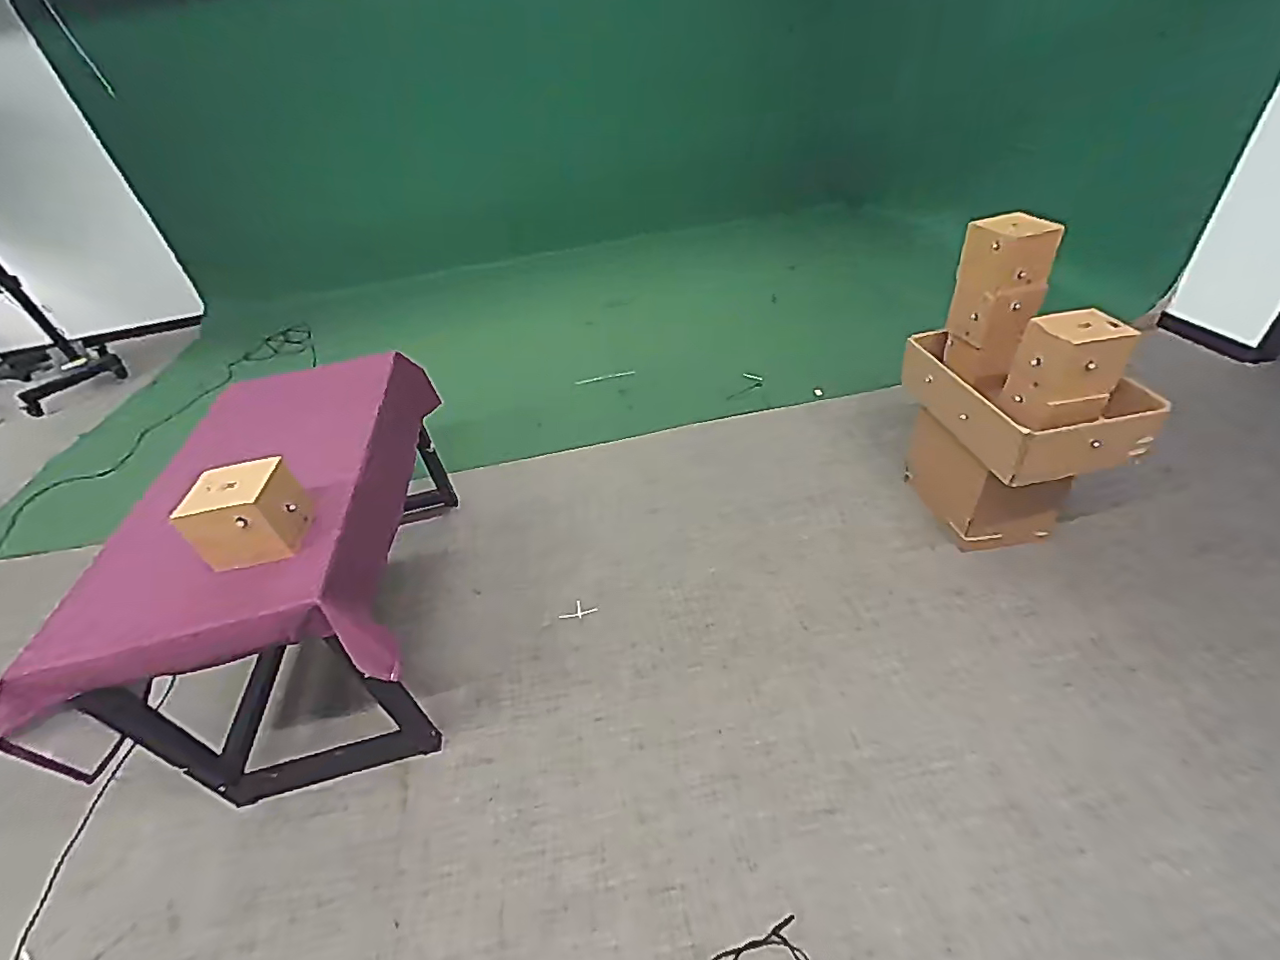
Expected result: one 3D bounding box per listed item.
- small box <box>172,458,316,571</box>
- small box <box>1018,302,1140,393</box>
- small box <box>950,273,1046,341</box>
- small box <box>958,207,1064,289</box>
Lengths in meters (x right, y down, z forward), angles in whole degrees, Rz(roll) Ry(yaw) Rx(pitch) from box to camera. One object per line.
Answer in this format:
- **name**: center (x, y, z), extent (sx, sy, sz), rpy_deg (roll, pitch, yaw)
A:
- **small box**: center (-0.869, 0.079, 1.212), extent (0.179, 0.176, 0.168), rpy_deg (-12, 39, -2)
- **small box**: center (1.141, -0.347, 1.430), extent (0.179, 0.176, 0.168), rpy_deg (-10, 40, 1)
- **small box**: center (1.099, -0.550, 1.681), extent (0.179, 0.176, 0.168), rpy_deg (-13, 40, -4)
- **small box**: center (1.075, -0.681, 1.588), extent (0.168, 0.176, 0.179), rpy_deg (-14, 41, -5)
